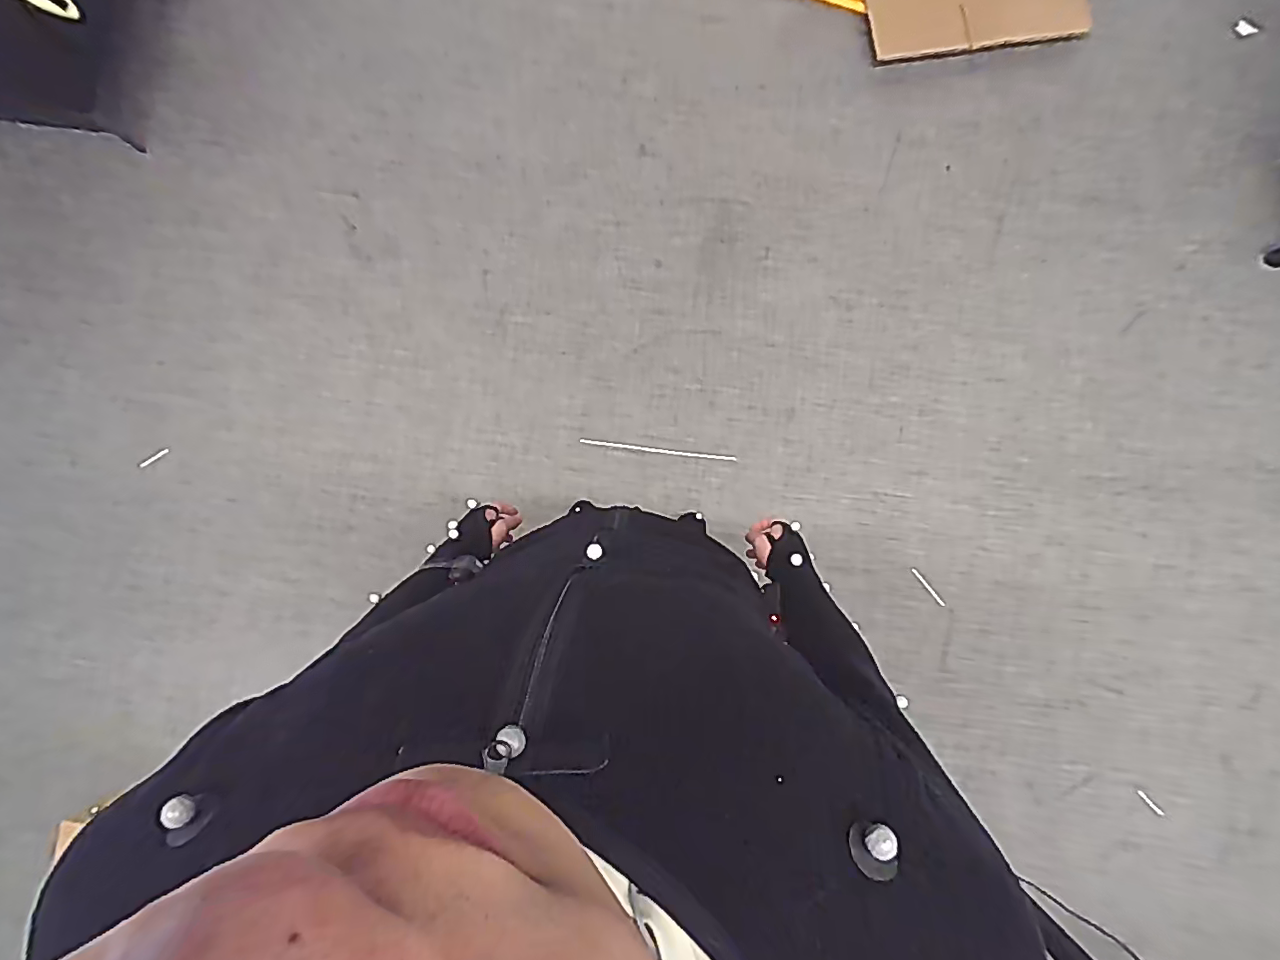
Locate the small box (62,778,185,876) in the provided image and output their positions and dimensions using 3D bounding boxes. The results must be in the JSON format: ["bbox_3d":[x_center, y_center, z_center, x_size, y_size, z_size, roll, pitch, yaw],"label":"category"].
[{"bbox_3d":[-1.476,0.987,1.553,0.179,0.176,0.168,9,87,1],"label":"small box"}]

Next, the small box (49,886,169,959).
[{"bbox_3d":[-1.510,1.300,1.539,0.179,0.176,0.168,6,87,1],"label":"small box"}]
